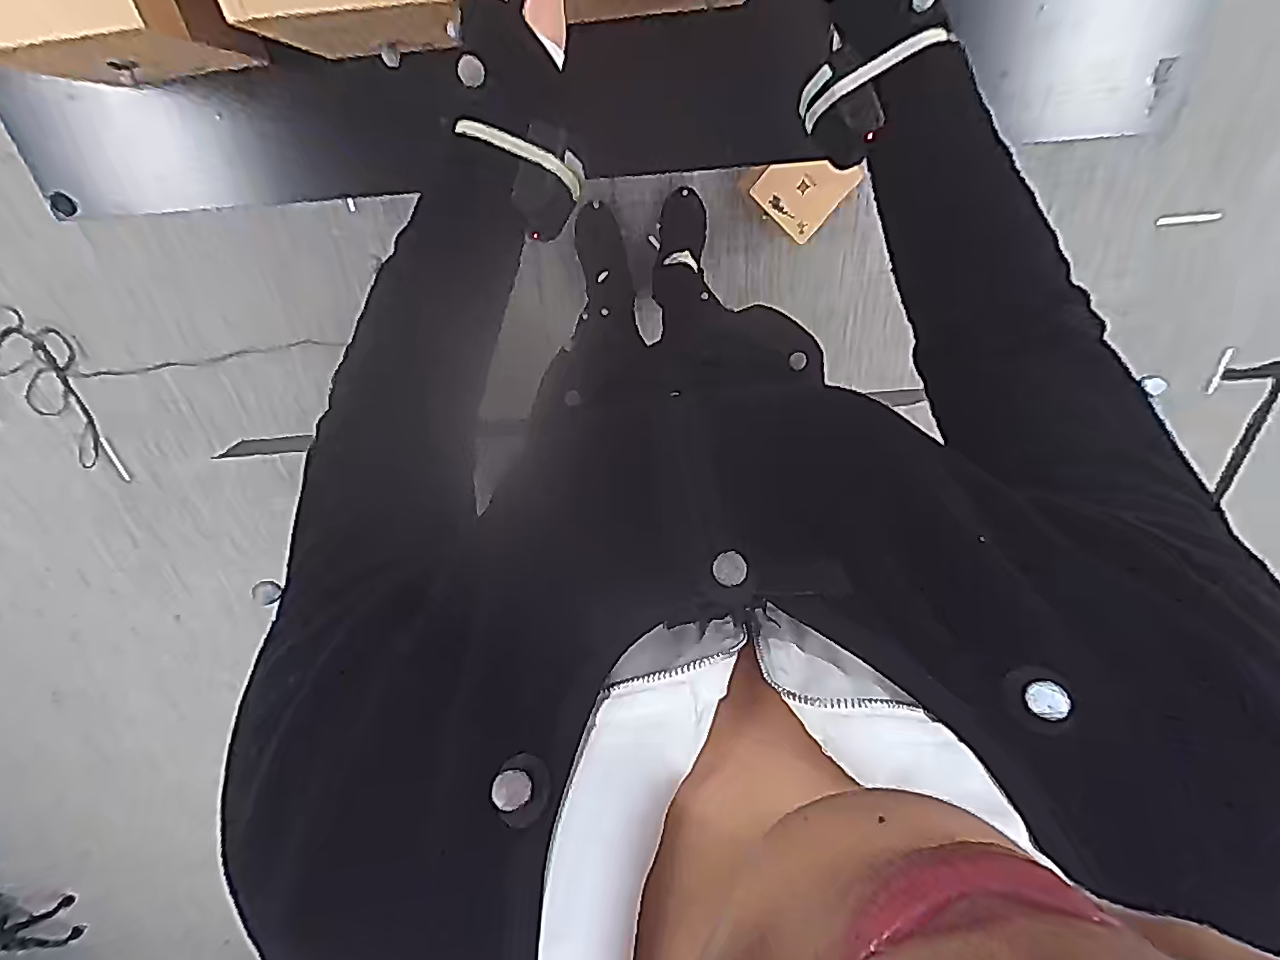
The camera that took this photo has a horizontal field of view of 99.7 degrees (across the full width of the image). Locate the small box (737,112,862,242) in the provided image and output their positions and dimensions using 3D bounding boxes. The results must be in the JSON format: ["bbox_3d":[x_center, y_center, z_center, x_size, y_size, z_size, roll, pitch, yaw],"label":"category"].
[{"bbox_3d":[0.332,-0.650,1.165,0.168,0.176,0.179,34,114,-20],"label":"small box"}]

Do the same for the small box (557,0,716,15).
[{"bbox_3d":[0.007,-0.478,0.405,0.179,0.176,0.168,-5,120,1],"label":"small box"}]
